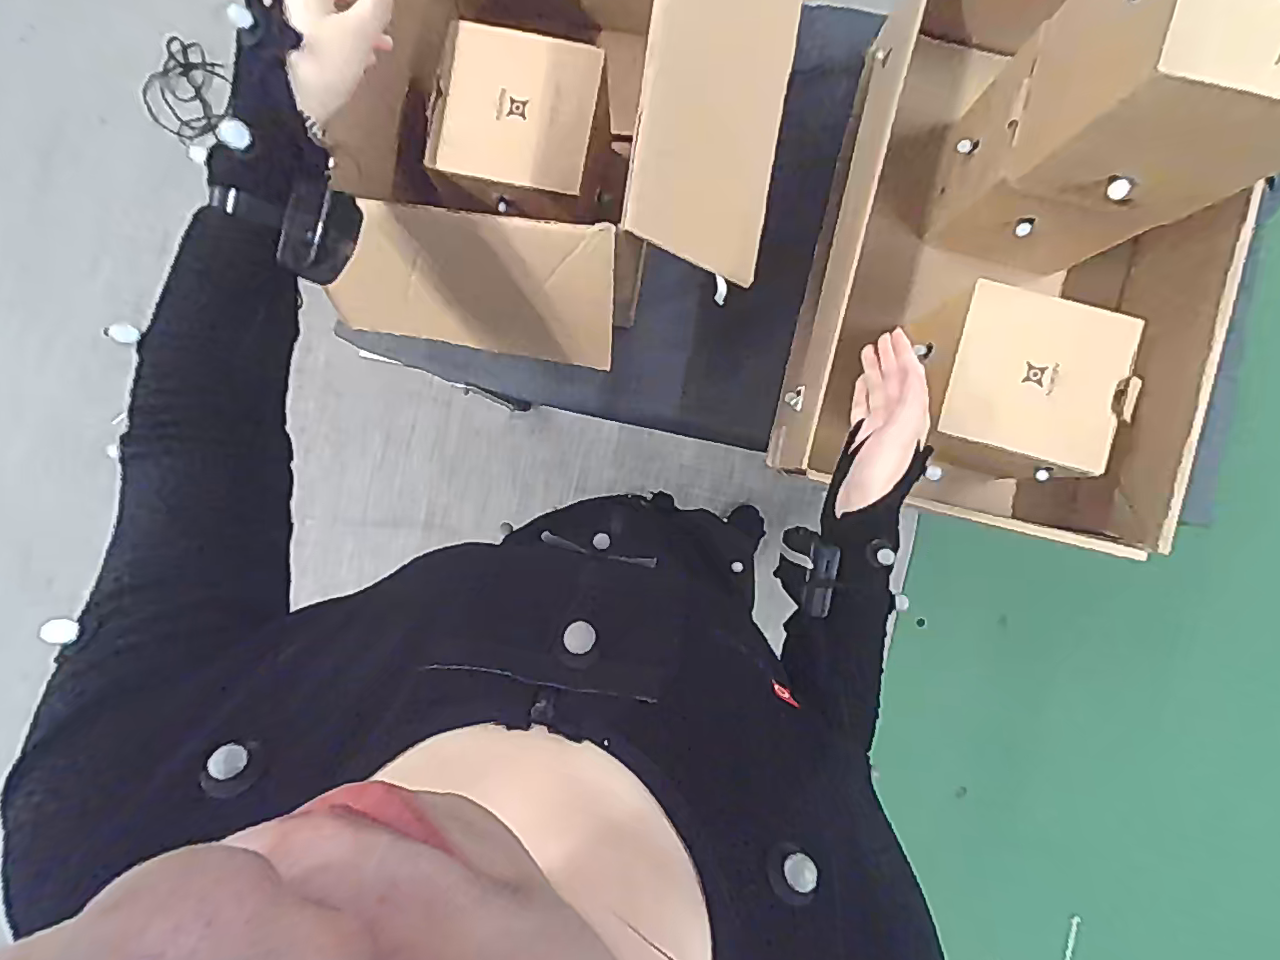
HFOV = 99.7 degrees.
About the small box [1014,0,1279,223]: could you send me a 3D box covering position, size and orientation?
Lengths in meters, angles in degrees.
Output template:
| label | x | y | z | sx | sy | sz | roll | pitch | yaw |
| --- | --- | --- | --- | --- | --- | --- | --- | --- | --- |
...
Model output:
| label | x | y | z | sx | sy | sz | roll | pitch | yaw |
| --- | --- | --- | --- | --- | --- | --- | --- | --- | --- |
| small box | 0.466 | -0.356 | 0.462 | 0.168 | 0.176 | 0.179 | 15 | 93 | 1 |
